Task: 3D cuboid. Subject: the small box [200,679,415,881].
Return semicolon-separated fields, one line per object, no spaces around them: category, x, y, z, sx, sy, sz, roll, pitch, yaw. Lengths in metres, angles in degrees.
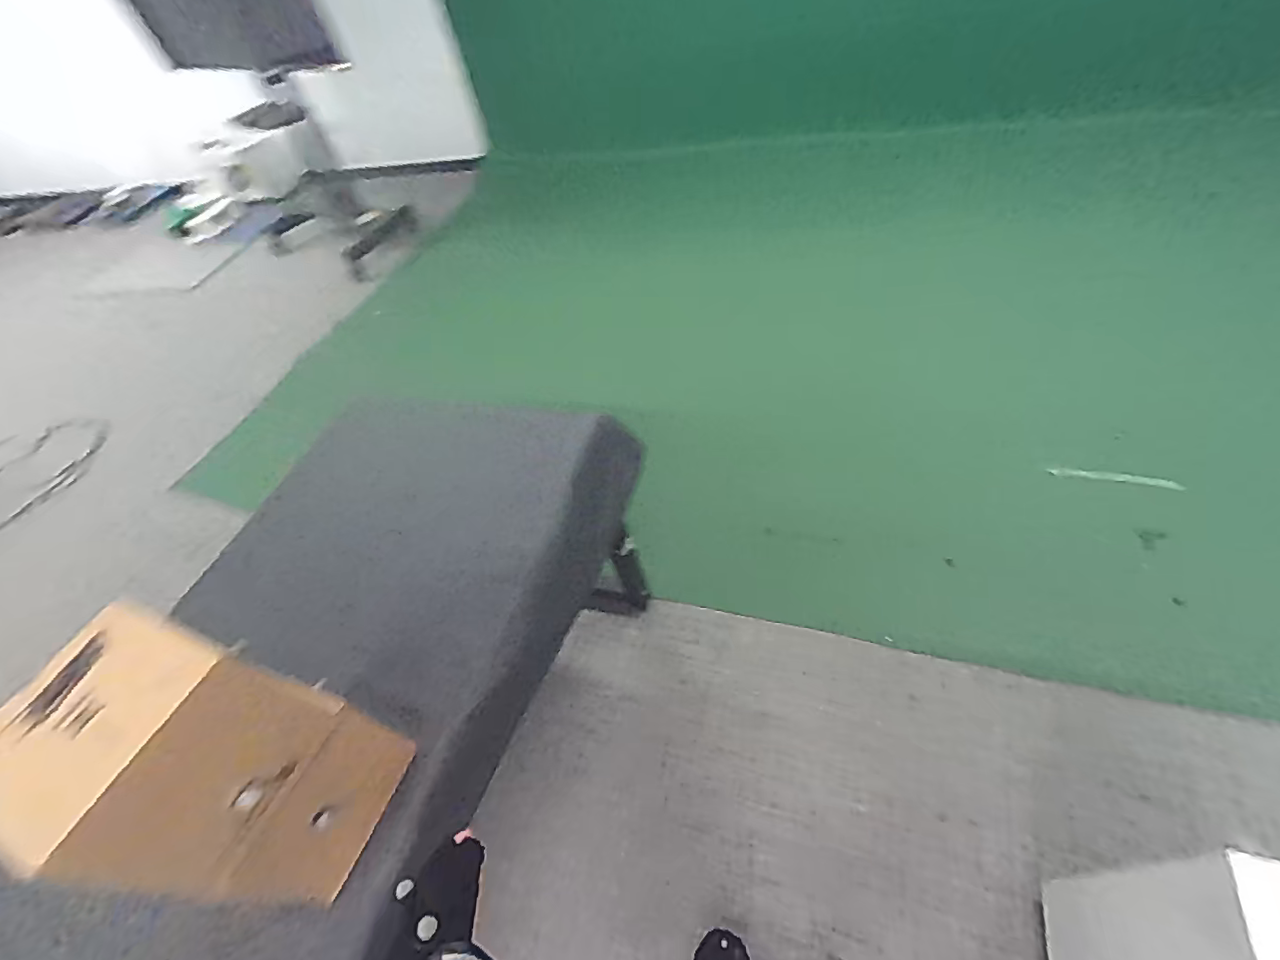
small box;-0.403;0.338;0.632;0.168;0.176;0.179;9;55;22
